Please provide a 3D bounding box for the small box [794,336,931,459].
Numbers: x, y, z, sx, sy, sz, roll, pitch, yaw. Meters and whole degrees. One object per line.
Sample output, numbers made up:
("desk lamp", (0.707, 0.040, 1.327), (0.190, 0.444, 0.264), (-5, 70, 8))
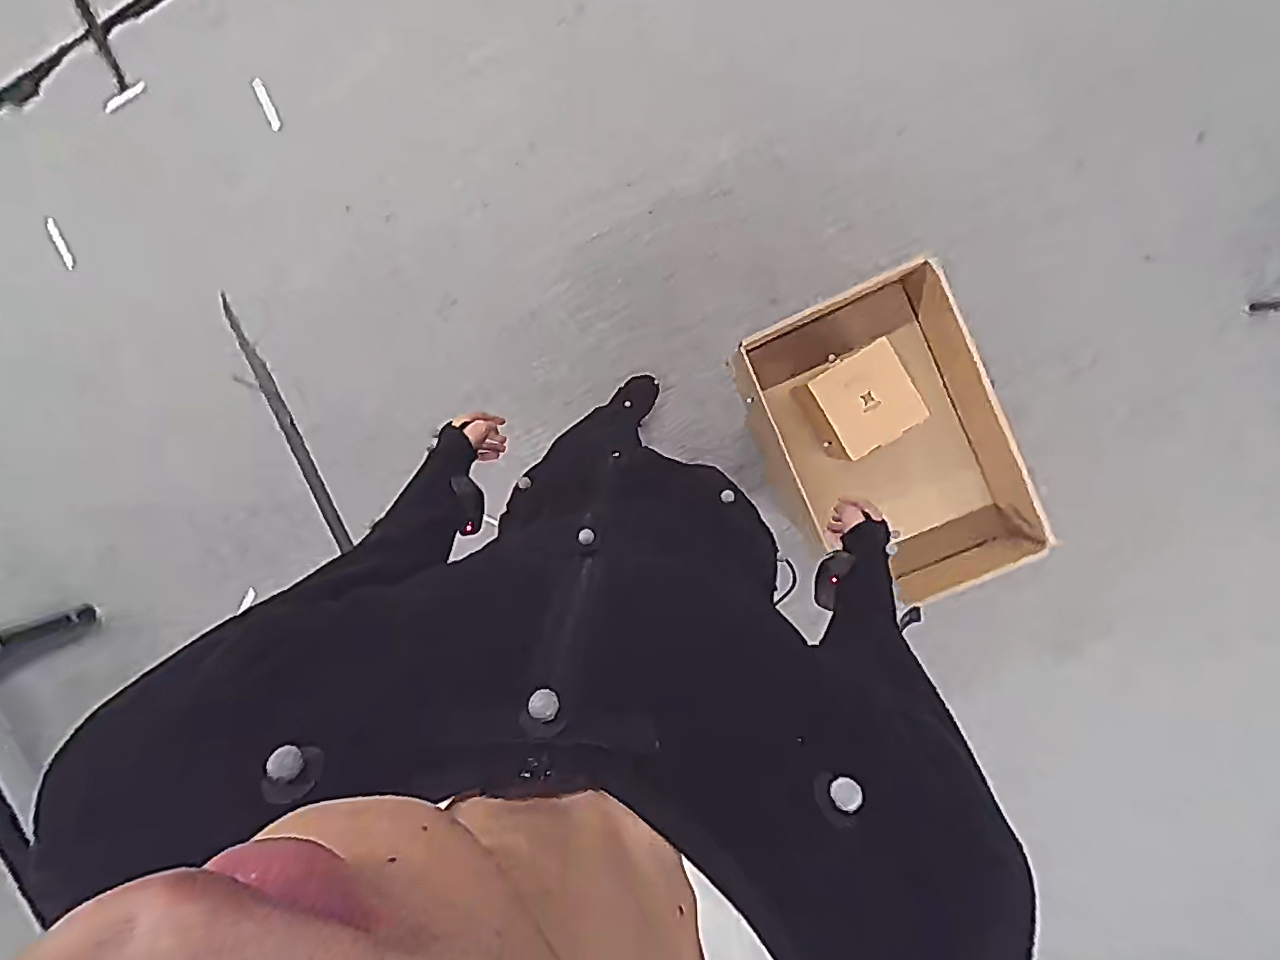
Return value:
("small box", (0.434, -0.162, 1.081), (0.168, 0.176, 0.179), (-31, 93, 6))
